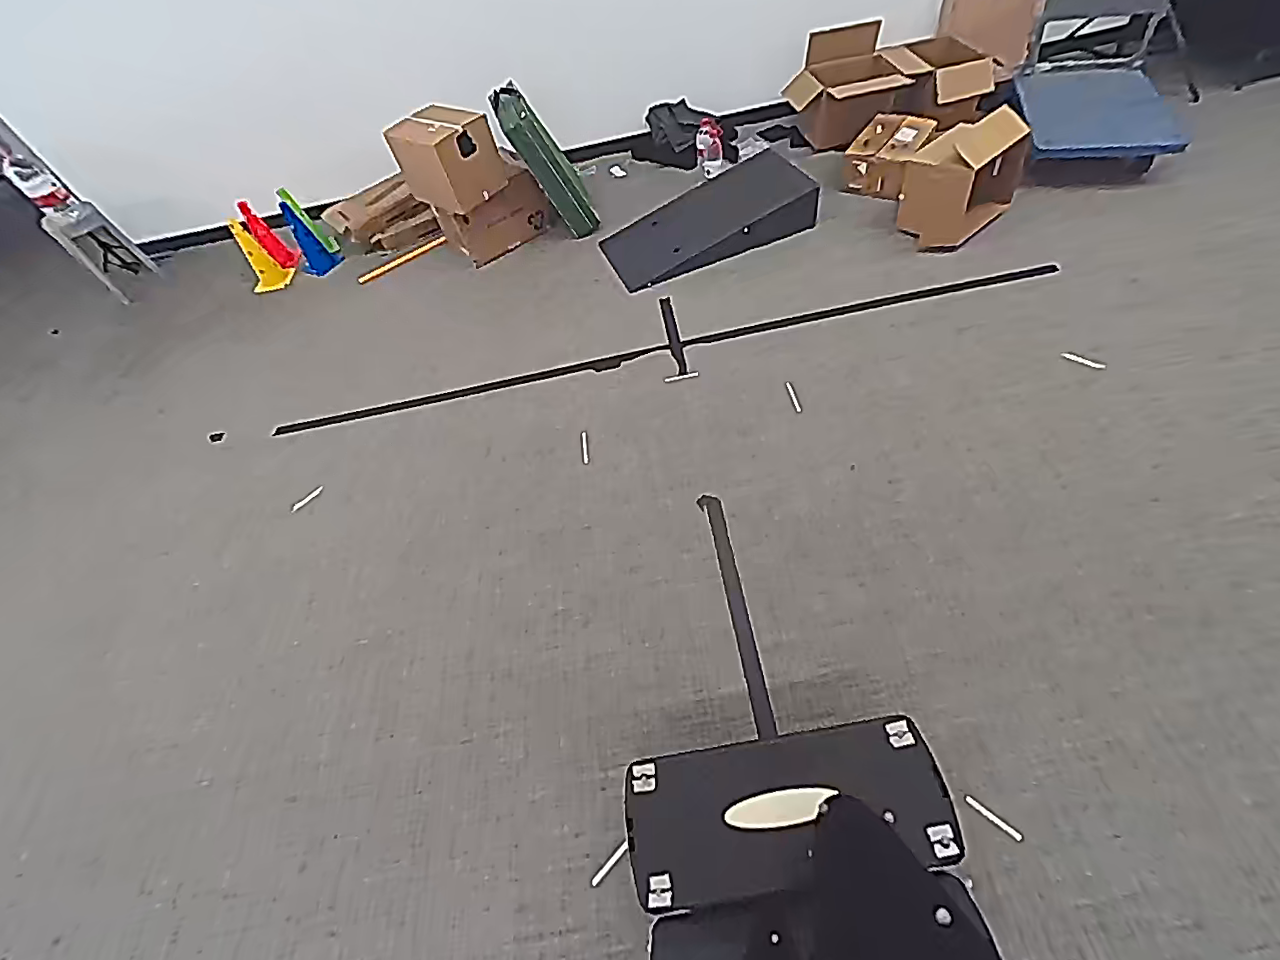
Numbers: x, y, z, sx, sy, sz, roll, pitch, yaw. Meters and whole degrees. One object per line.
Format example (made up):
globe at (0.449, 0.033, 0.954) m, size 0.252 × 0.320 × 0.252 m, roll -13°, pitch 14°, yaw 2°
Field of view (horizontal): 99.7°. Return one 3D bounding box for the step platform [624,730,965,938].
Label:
step platform at (0.306, 0.757, 1.175) m, size 0.684 × 0.204 × 0.286 m, roll -12°, pitch 54°, yaw 1°
